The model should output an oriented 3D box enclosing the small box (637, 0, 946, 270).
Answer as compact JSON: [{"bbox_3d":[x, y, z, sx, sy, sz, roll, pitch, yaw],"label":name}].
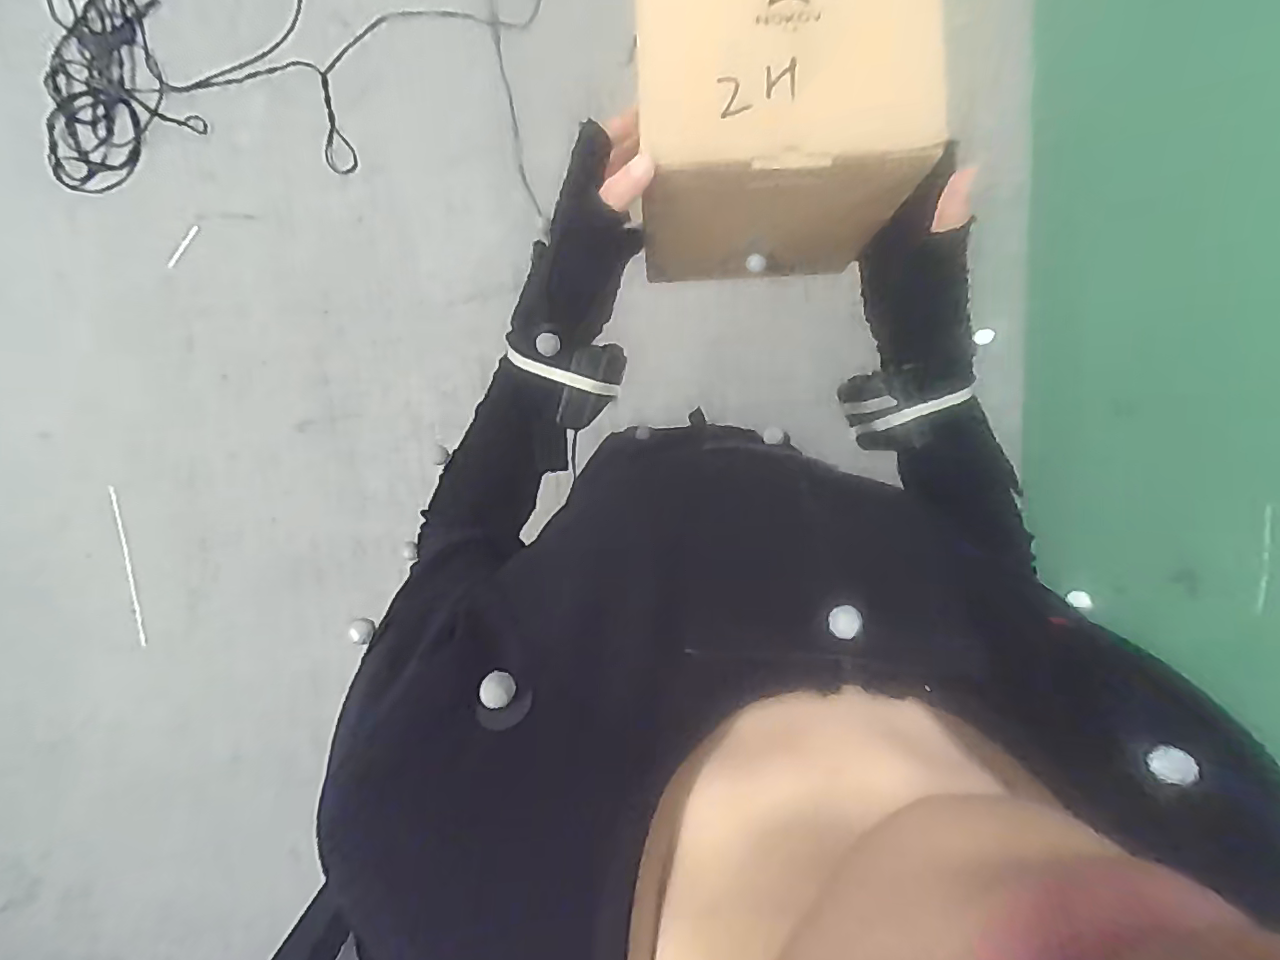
[{"bbox_3d":[0.082,-0.267,0.372,0.168,0.176,0.179,-2,88,3],"label":"small box"}]
